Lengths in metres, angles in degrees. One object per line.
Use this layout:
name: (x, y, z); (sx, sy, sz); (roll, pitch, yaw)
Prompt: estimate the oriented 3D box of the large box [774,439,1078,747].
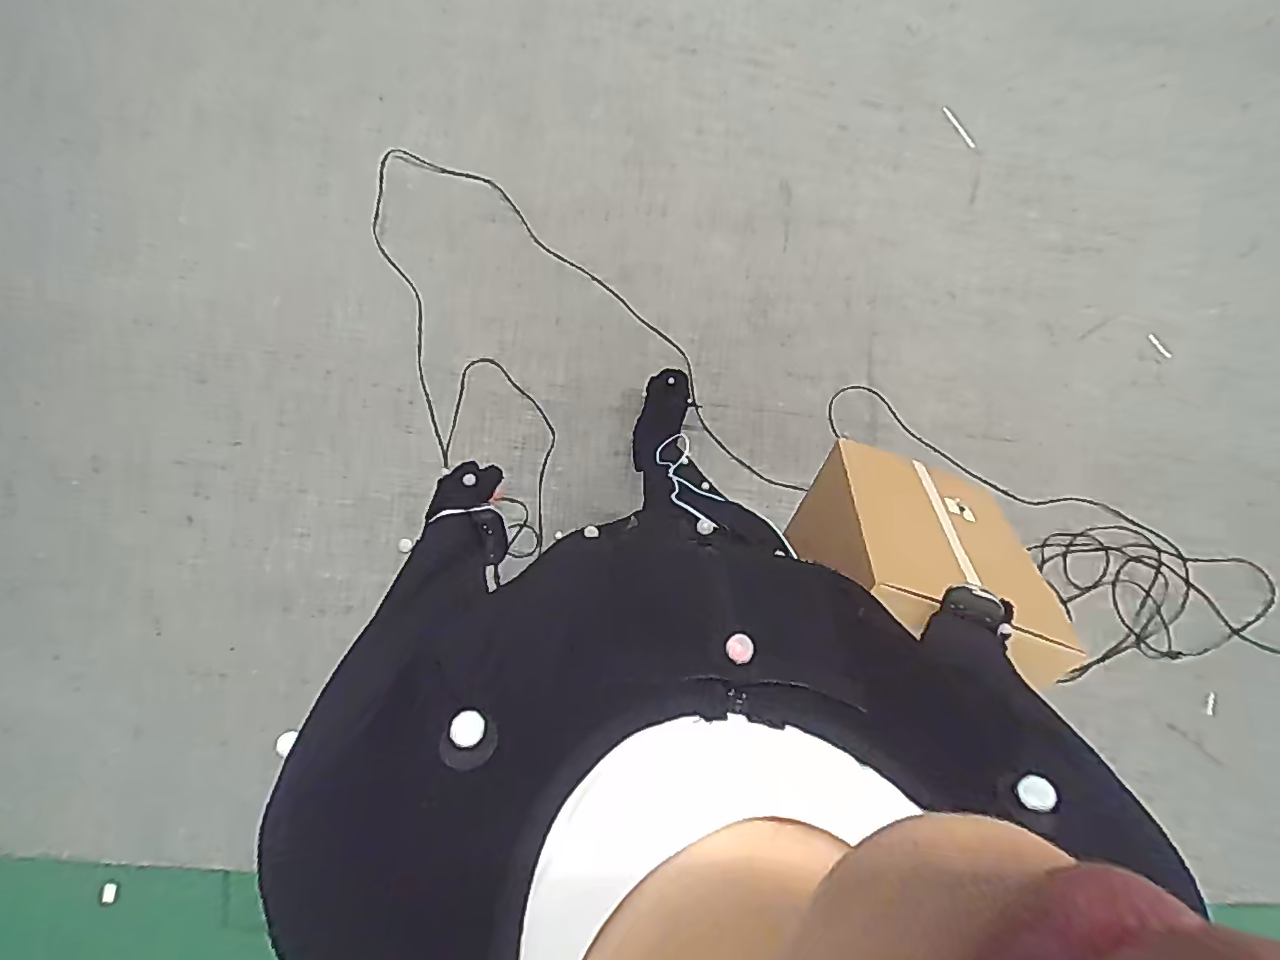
large box: (0.452, 0.189, 0.983); (0.320, 0.408, 0.320); (19, 125, -1)
